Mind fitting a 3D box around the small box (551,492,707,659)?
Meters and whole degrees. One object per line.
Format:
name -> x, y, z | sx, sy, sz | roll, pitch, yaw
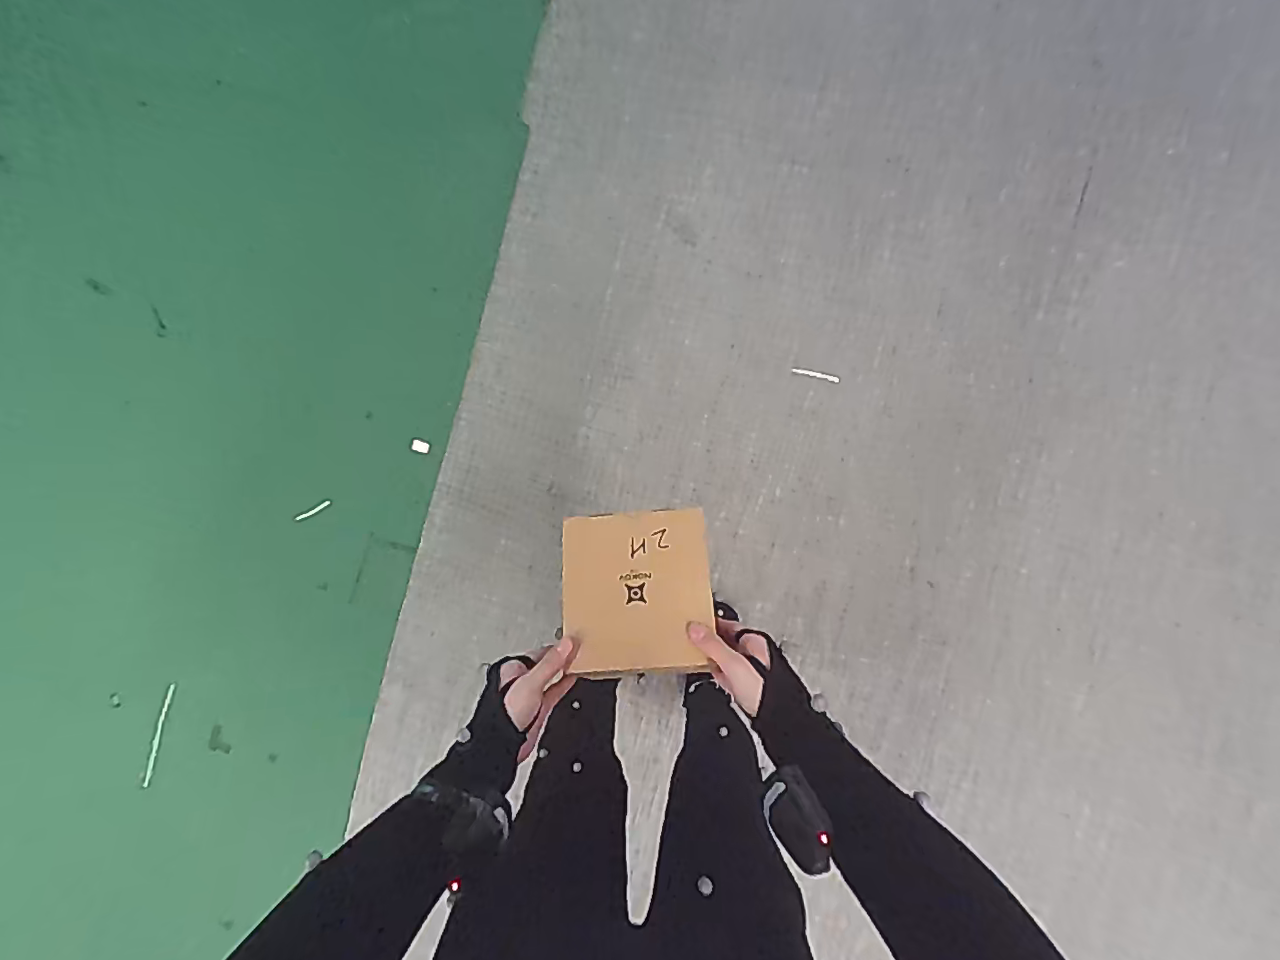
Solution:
small box -> -0.005, 0.125, 0.656 | 0.168, 0.176, 0.179 | -2, 69, 3
